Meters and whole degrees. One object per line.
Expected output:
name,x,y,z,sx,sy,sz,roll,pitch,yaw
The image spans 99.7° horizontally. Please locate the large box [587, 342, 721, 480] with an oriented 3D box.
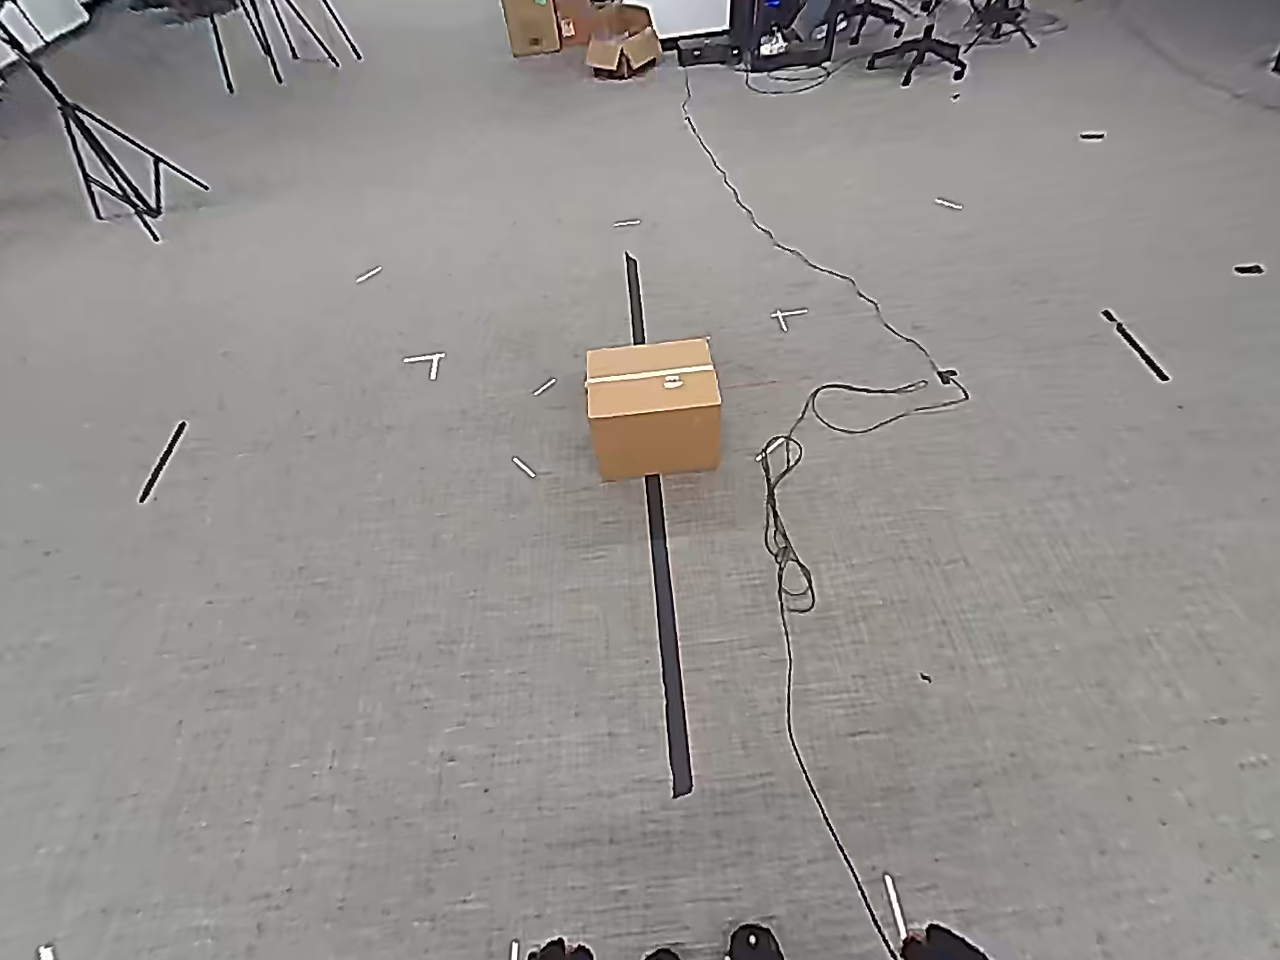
large box,0.043,-0.228,1.824,0.408,0.320,0.320,-6,53,1
